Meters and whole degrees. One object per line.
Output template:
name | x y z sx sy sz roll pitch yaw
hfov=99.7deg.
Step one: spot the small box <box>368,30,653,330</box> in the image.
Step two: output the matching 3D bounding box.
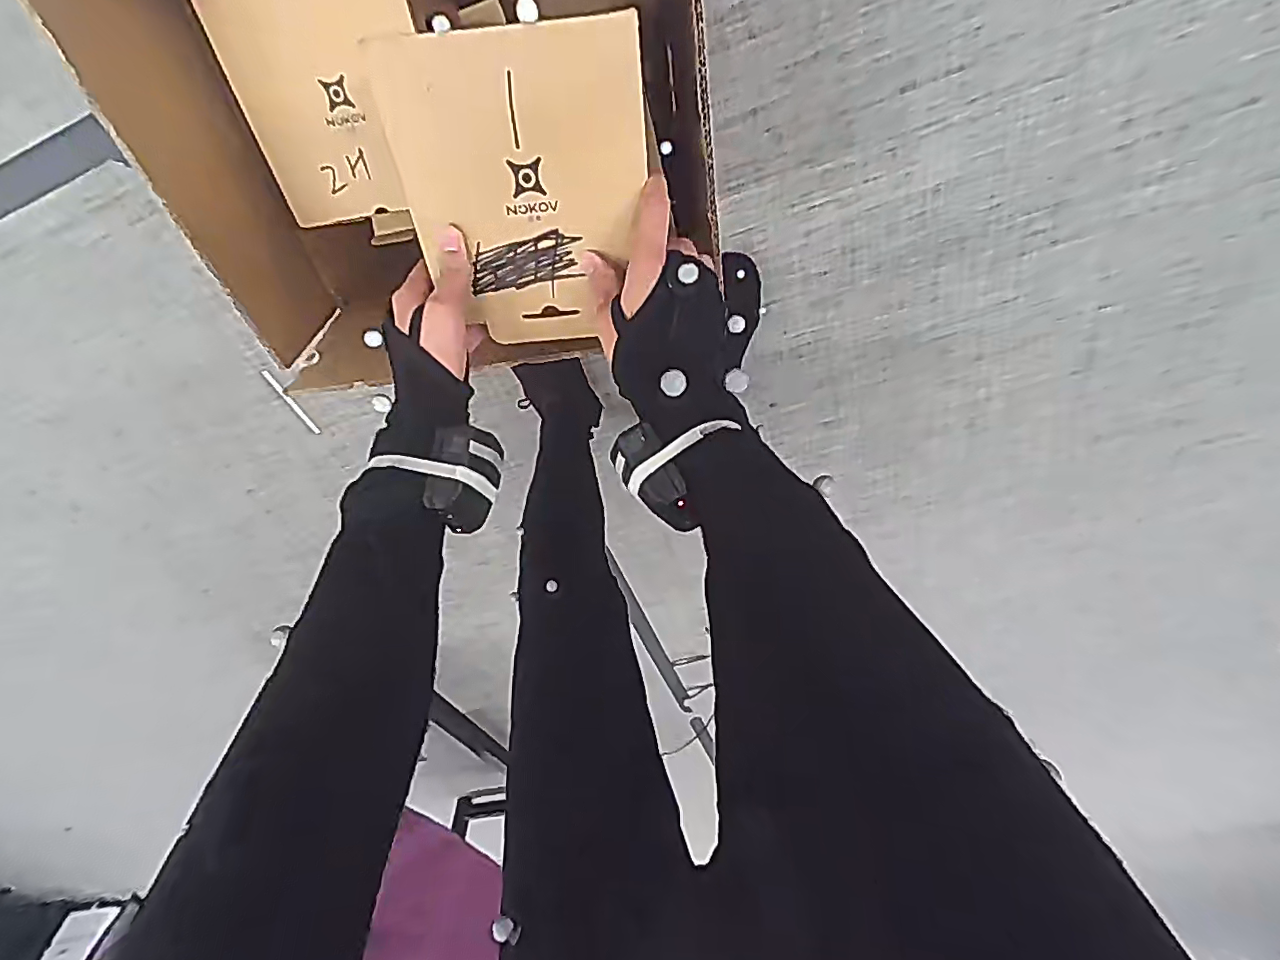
small box | -0.077 -0.240 0.433 0.168 0.176 0.179 -5 128 1
